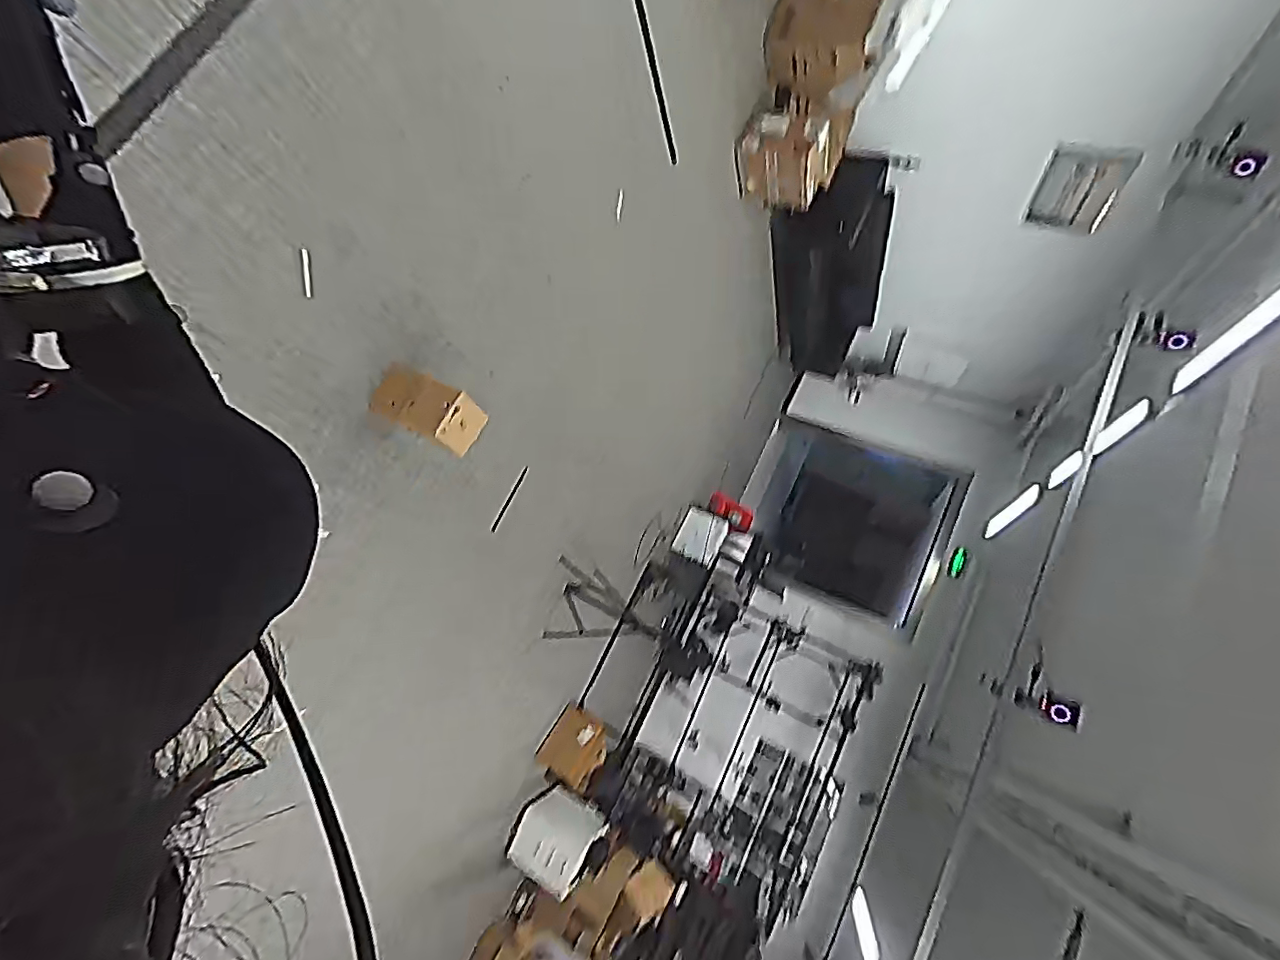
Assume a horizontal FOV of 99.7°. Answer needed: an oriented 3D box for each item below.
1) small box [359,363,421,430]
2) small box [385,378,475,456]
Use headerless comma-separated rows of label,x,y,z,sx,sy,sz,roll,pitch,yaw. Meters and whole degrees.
small box,-0.816,-0.269,1.836,0.179,0.176,0.168,-65,160,-10
small box,-0.681,-0.209,1.763,0.168,0.176,0.179,-62,159,-15
